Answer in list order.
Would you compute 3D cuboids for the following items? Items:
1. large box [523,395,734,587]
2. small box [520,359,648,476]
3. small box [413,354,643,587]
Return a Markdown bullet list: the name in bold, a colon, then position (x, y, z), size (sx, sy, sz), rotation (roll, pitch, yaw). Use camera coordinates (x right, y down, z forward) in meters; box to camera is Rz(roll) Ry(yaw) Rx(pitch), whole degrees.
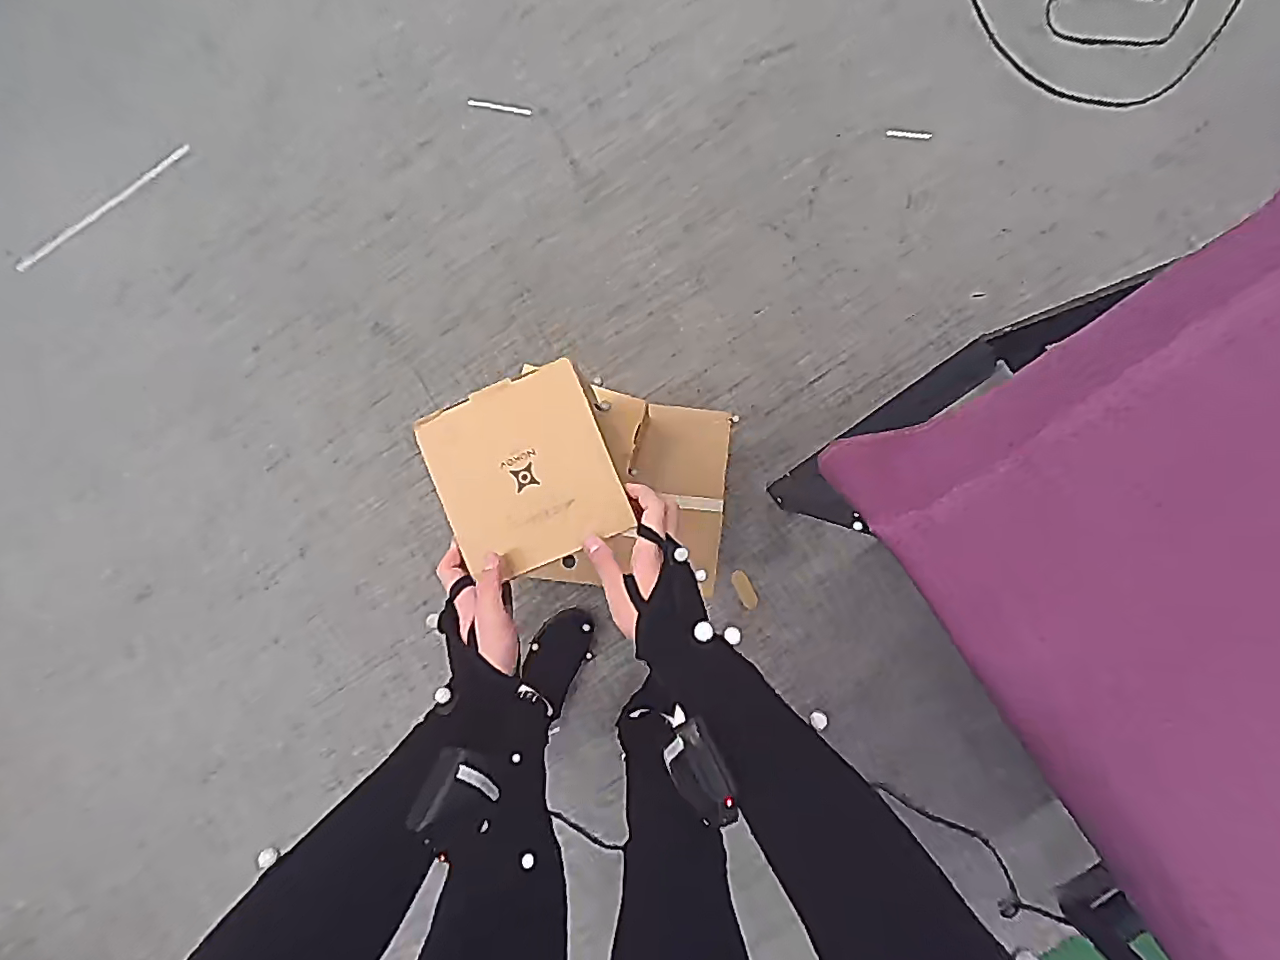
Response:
- **large box**: position (-0.055, 0.006, 1.038), size (0.408, 0.320, 0.320), rotation (6, 93, 1)
- **small box**: position (-0.094, -0.058, 0.794), size (0.179, 0.176, 0.168), rotation (17, 90, 1)
- **small box**: position (-0.103, -0.006, 0.574), size (0.168, 0.176, 0.179), rotation (-22, 87, 2)
